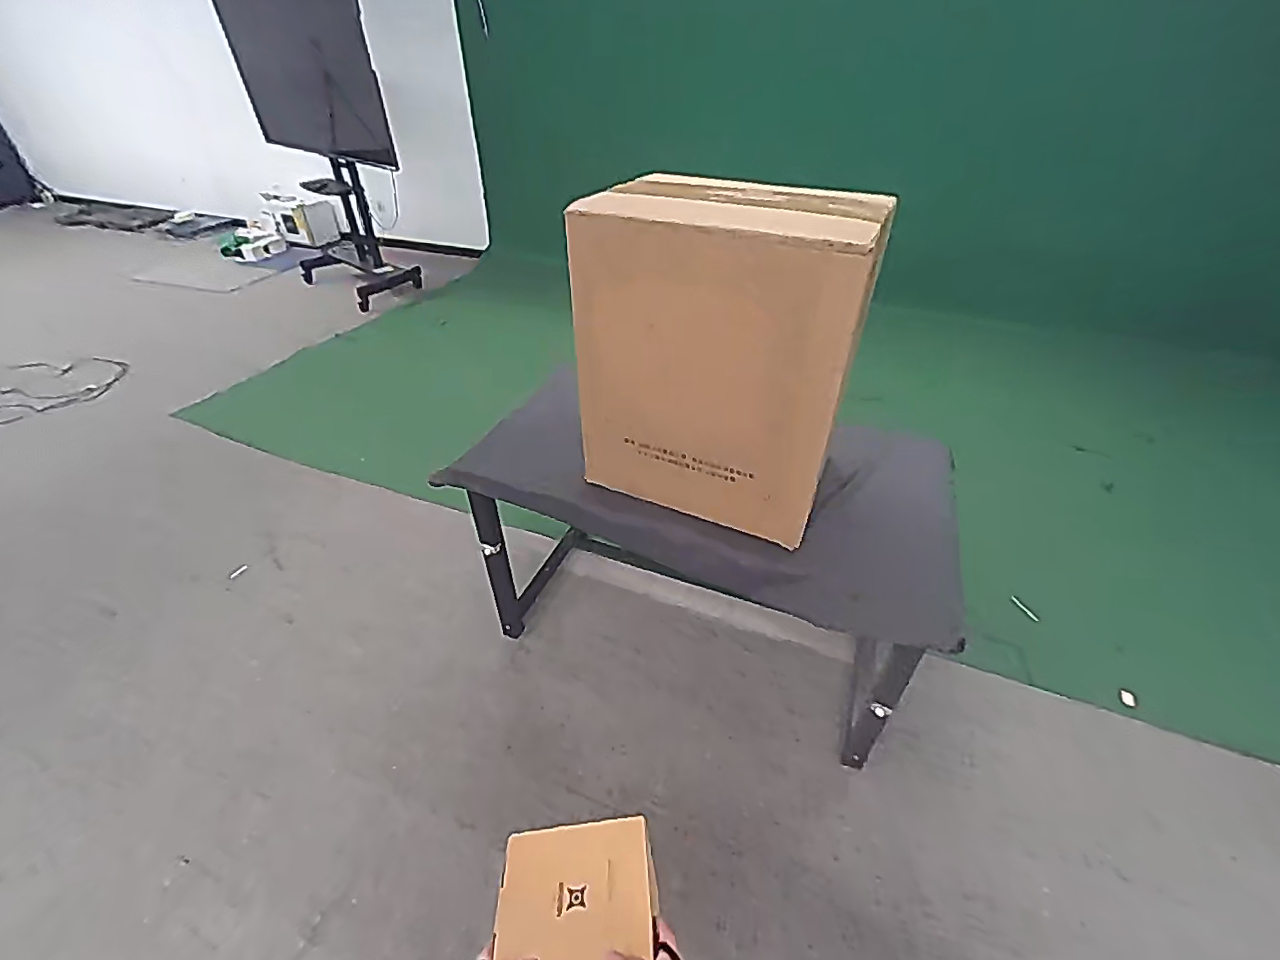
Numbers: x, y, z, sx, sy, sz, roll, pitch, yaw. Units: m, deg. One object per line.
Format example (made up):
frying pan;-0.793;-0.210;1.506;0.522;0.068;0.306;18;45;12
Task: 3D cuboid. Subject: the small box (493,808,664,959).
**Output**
small box;-0.065;0.539;0.656;0.179;0.176;0.168;-7;28;-2
